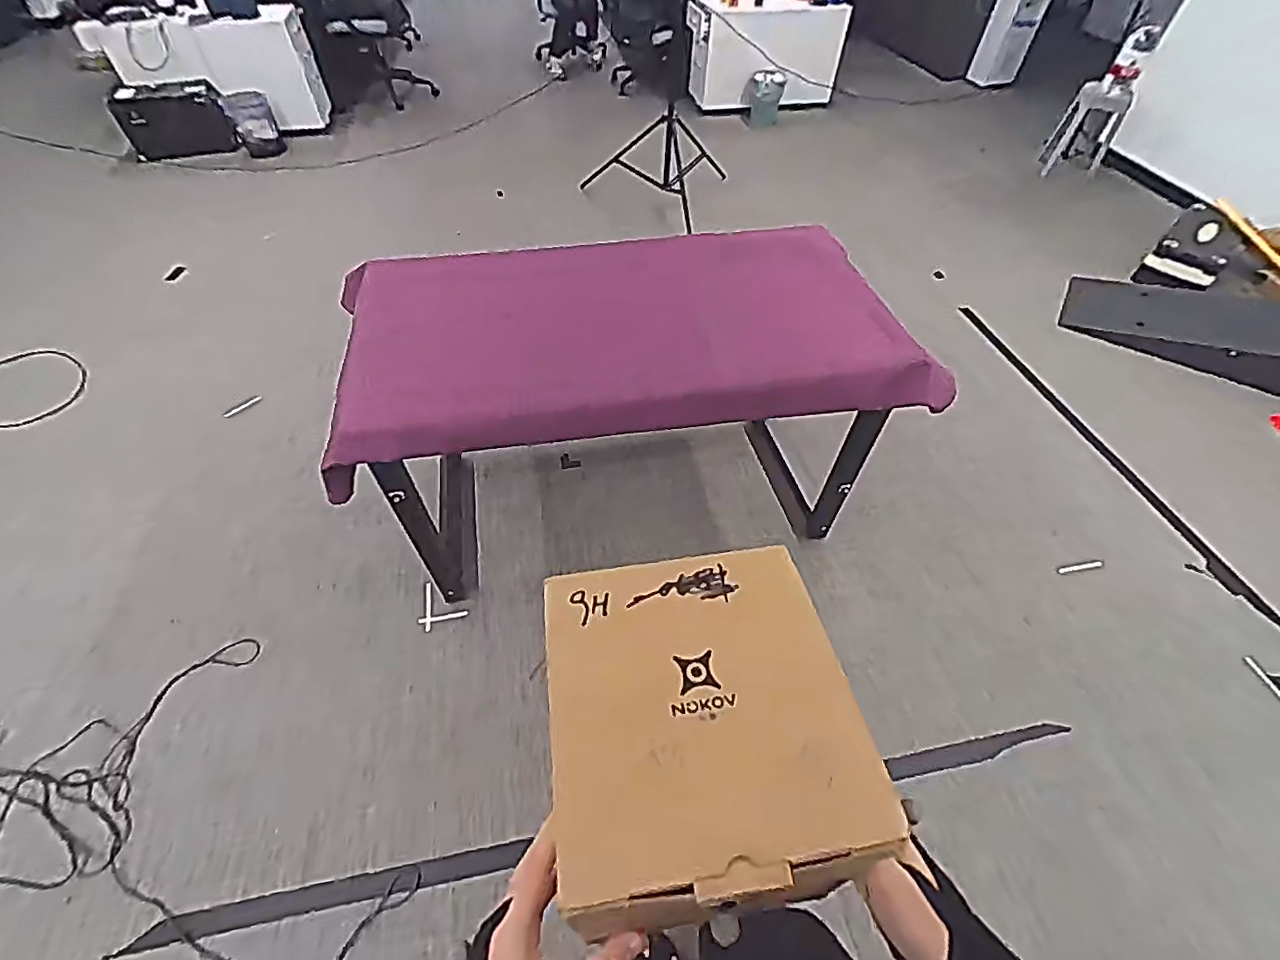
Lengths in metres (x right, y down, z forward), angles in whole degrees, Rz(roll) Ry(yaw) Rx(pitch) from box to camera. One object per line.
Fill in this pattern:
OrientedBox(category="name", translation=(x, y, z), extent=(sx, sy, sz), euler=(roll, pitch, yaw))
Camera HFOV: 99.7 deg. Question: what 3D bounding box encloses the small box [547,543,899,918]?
OrientedBox(category="small box", translation=(0.032, 0.169, 0.360), extent=(0.168, 0.176, 0.179), euler=(-6, 47, -6))
